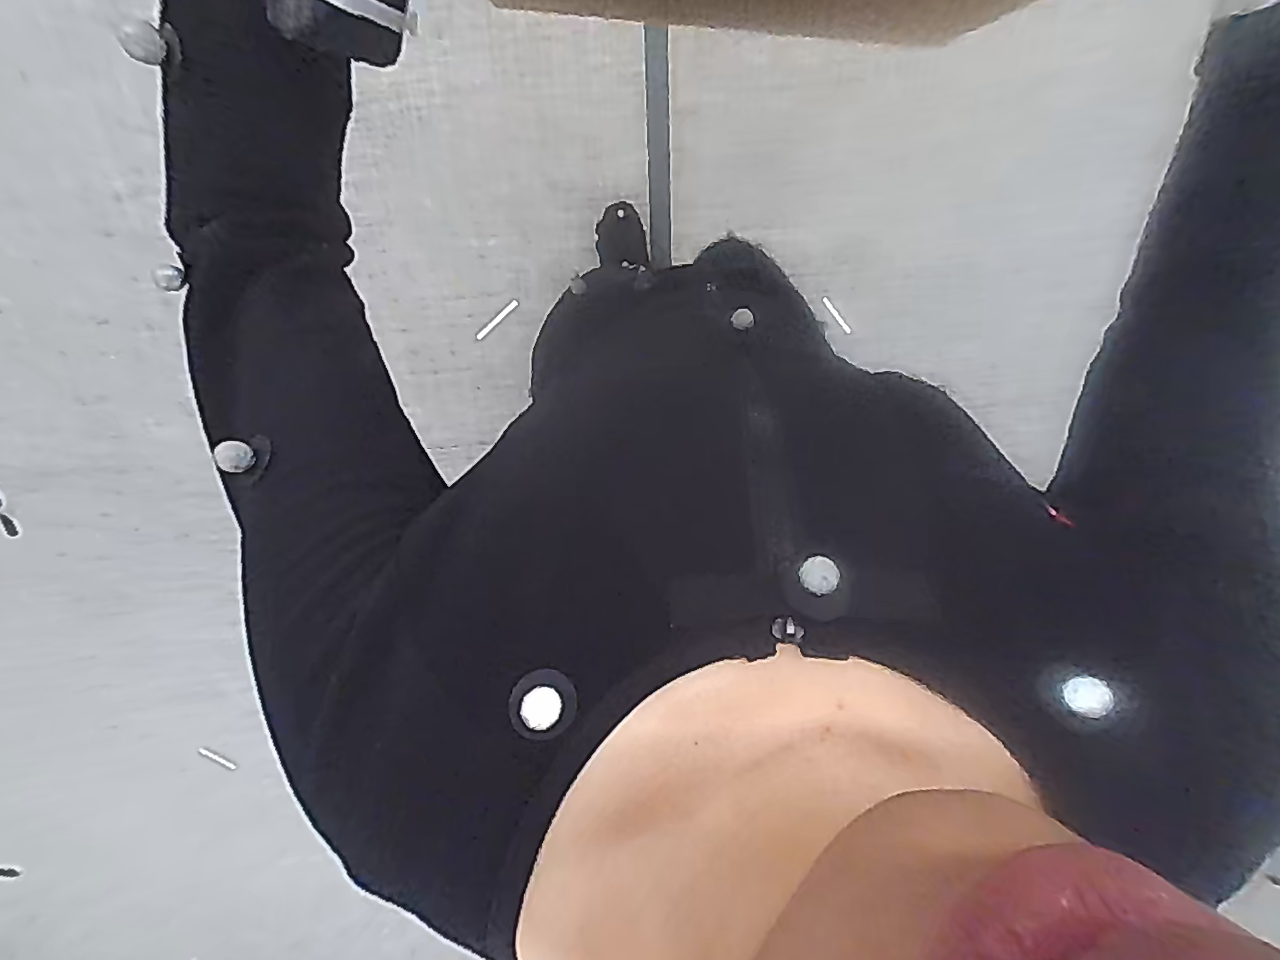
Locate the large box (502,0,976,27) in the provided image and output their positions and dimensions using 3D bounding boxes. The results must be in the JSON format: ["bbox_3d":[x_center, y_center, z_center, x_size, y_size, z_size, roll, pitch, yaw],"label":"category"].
[{"bbox_3d":[0.083,-0.479,0.277,0.408,0.320,0.320,1,117,-4],"label":"large box"}]
